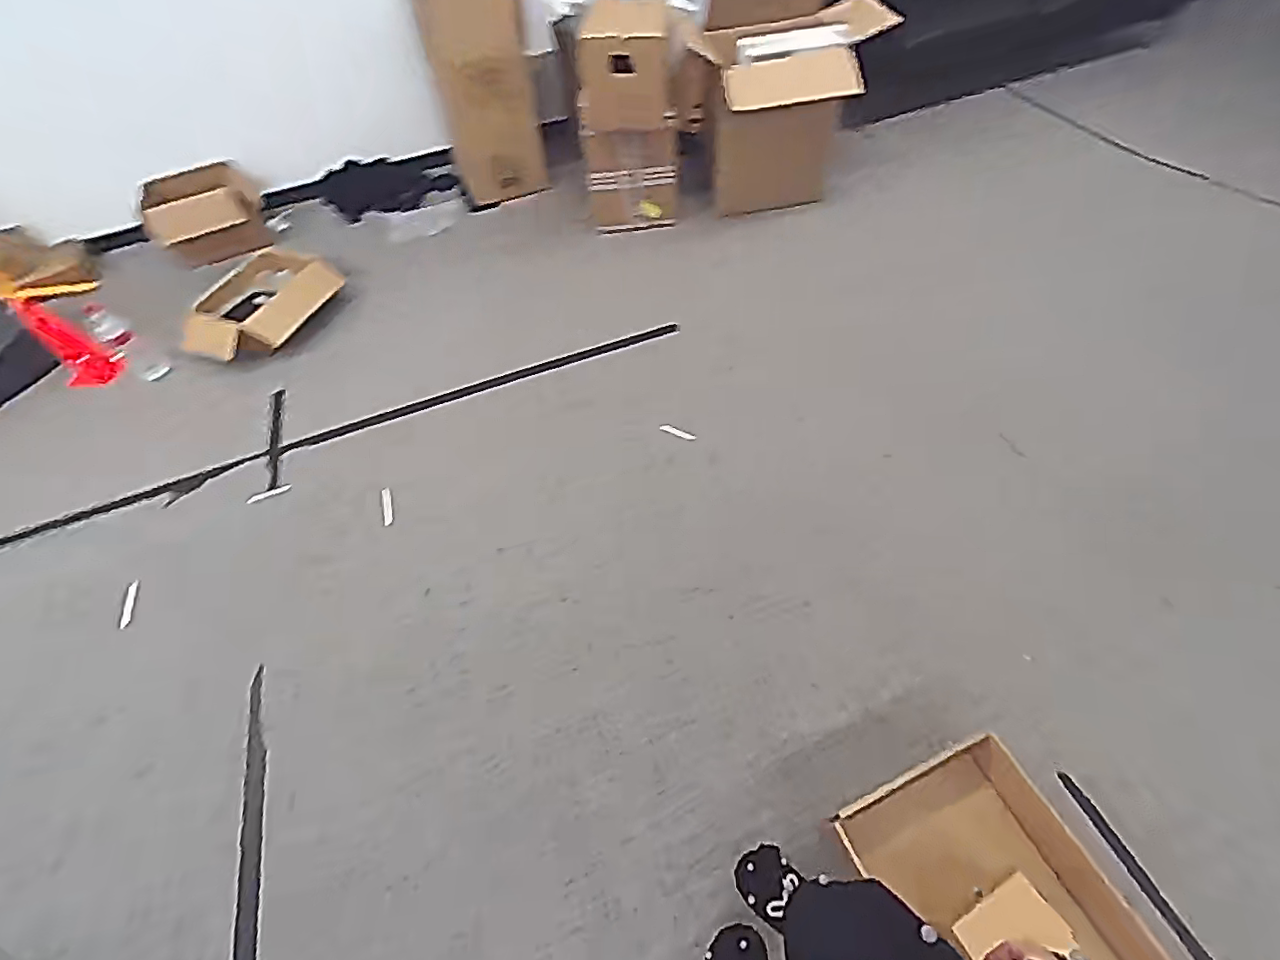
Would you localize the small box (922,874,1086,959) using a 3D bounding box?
[{"bbox_3d":[0.661,0.857,0.992,0.179,0.176,0.168,-27,56,-12],"label":"small box"}]
